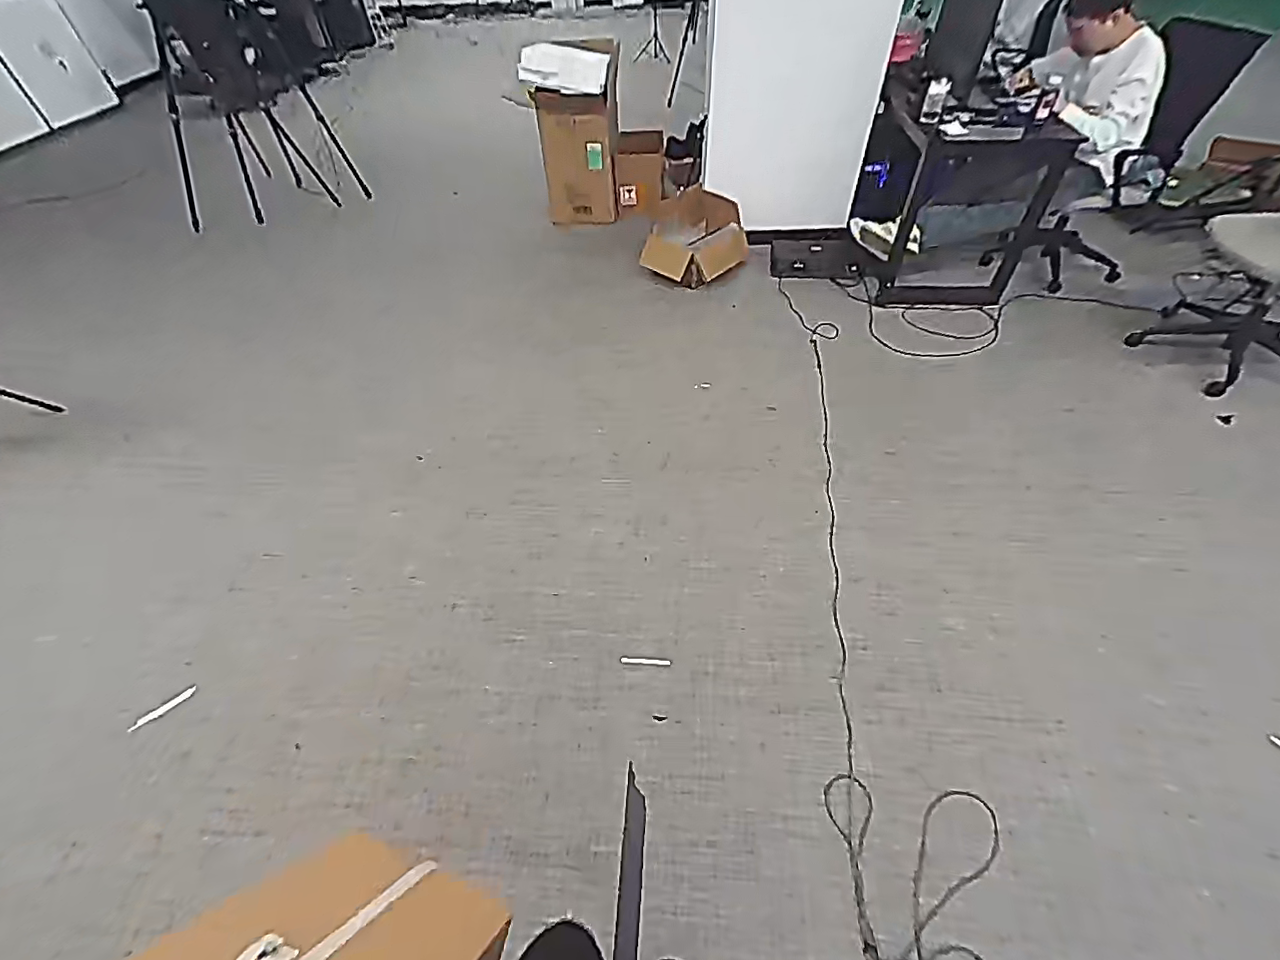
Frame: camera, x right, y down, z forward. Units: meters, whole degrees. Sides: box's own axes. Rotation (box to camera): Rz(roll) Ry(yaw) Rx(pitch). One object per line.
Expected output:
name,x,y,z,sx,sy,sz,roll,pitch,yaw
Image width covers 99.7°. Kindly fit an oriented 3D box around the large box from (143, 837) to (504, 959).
large box,-0.433,0.743,0.667,0.320,0.408,0.320,13,82,16
